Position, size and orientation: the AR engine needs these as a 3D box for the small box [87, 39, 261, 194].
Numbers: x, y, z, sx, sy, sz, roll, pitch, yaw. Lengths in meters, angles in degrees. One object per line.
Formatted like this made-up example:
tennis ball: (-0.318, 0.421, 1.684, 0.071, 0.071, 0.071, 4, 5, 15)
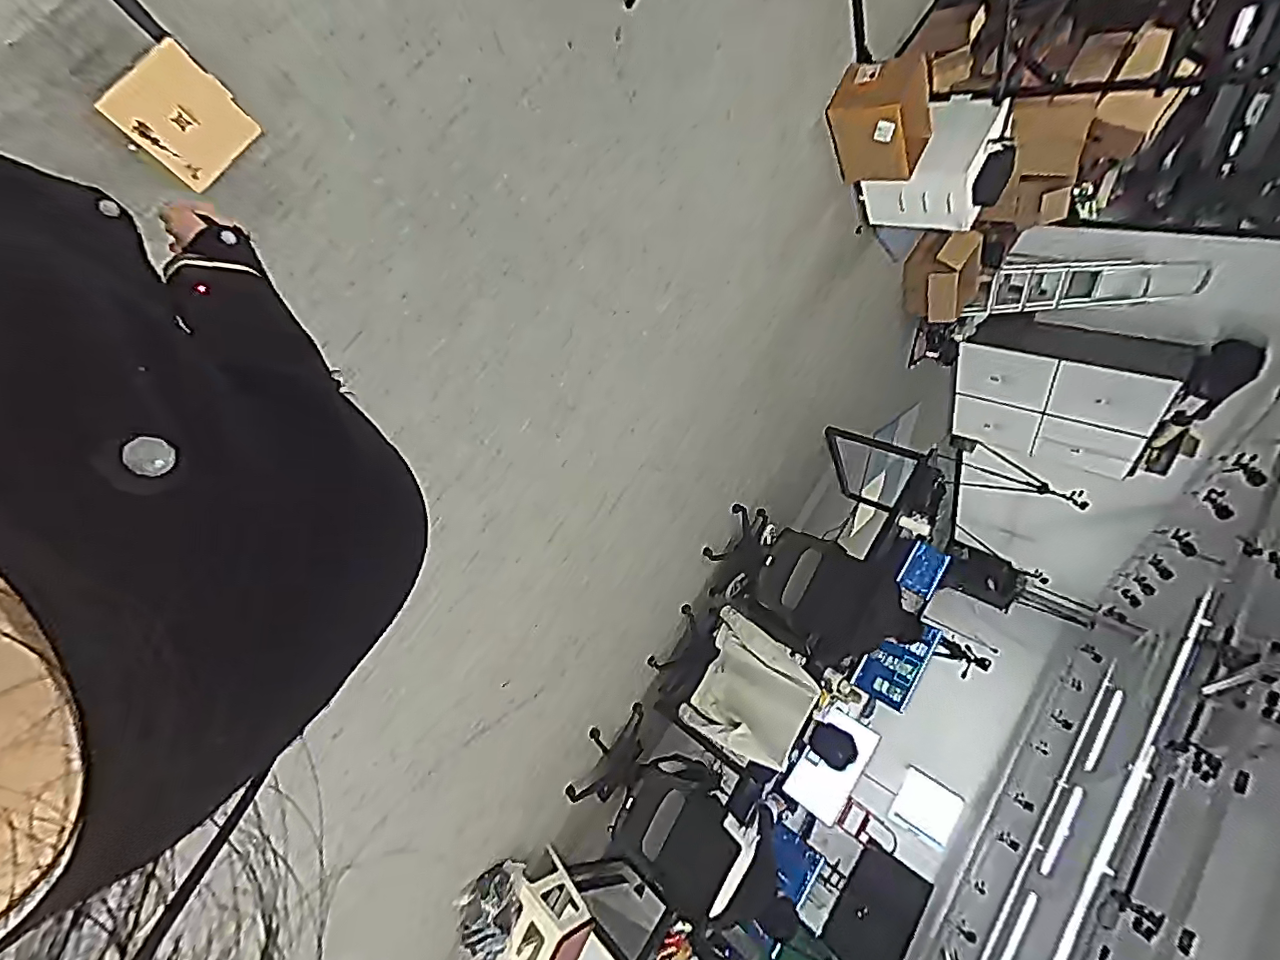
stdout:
small box: (-0.860, -0.661, 0.995, 0.179, 0.176, 0.168, -58, 144, -12)
